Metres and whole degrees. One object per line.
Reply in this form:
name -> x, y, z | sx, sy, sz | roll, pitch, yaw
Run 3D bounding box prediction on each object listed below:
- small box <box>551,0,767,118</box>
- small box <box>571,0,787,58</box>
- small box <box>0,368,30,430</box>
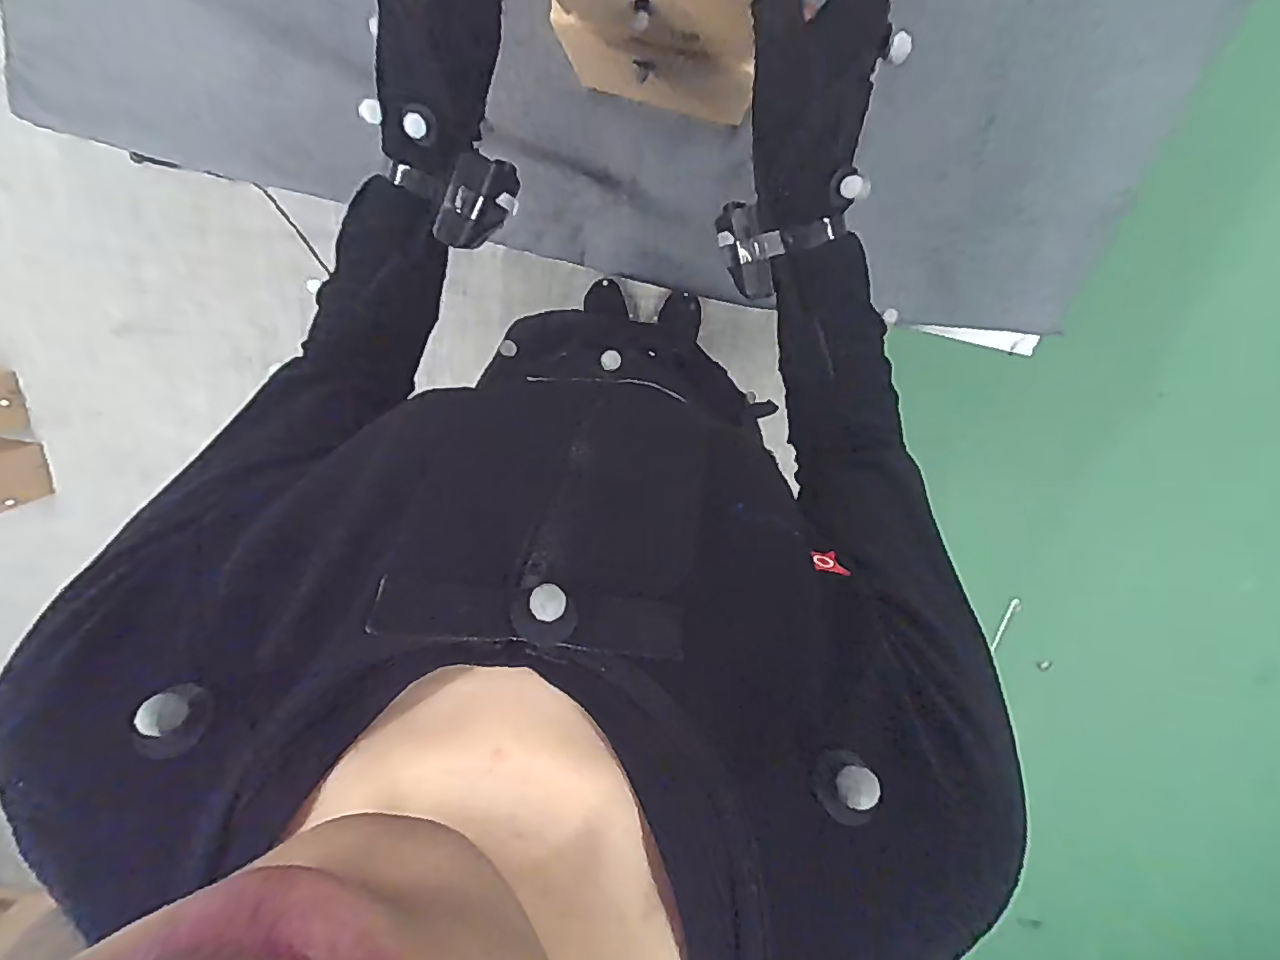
small box -> 0.036, -0.448, 0.477 | 0.179, 0.176, 0.168 | 13, 112, -2
small box -> 0.031, -0.398, 0.322 | 0.168, 0.176, 0.179 | 12, 113, -1
small box -> -1.875, -0.224, 1.493 | 0.179, 0.176, 0.168 | 9, 113, 0
